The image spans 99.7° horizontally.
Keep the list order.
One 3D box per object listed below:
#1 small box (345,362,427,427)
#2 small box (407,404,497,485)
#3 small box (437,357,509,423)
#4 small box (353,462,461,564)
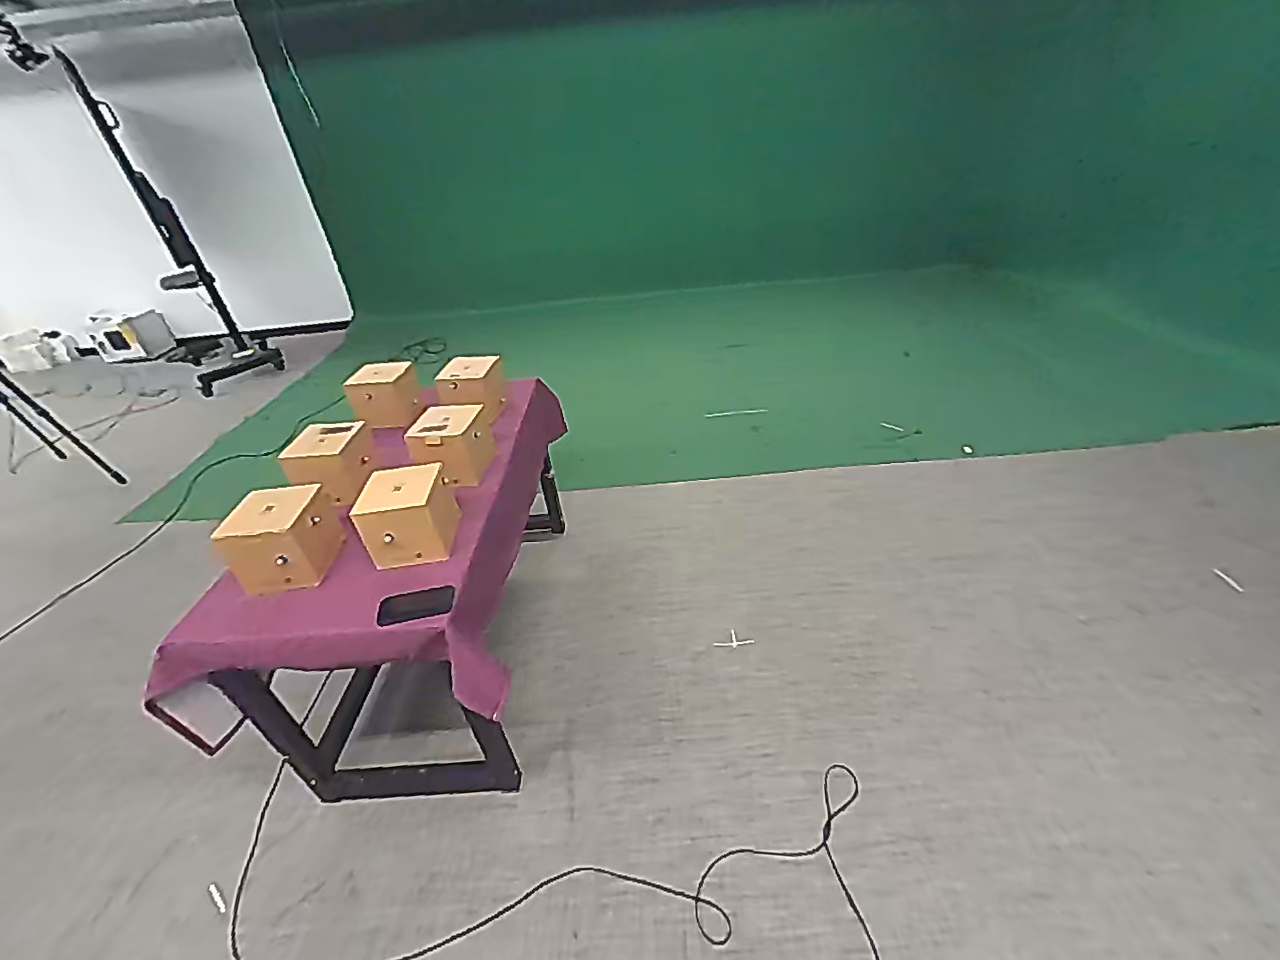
[{"bbox_3d":[-0.868,-0.292,1.862,0.179,0.176,0.168,-2,36,5],"label":"small box"},{"bbox_3d":[-0.521,-0.098,1.529,0.168,0.176,0.179,-1,34,8],"label":"small box"},{"bbox_3d":[-0.556,-0.306,1.833,0.168,0.176,0.179,-1,35,9],"label":"small box"},{"bbox_3d":[-0.535,0.083,1.273,0.168,0.176,0.179,-8,33,-2],"label":"small box"}]
